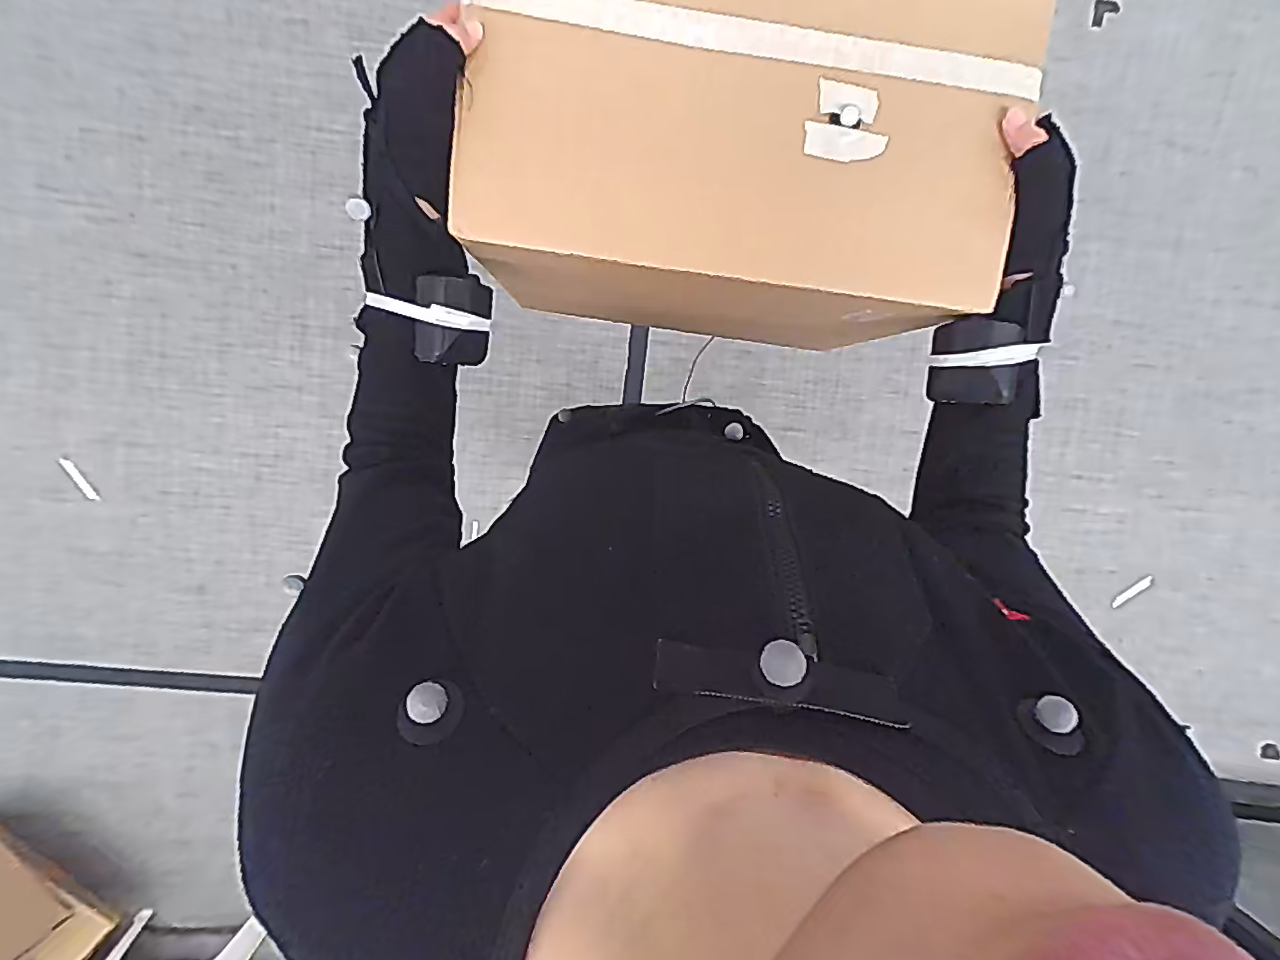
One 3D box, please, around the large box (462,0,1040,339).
[{"bbox_3d":[0.072,-0.332,0.530,0.408,0.320,0.320,7,99,-5],"label":"large box"}]
